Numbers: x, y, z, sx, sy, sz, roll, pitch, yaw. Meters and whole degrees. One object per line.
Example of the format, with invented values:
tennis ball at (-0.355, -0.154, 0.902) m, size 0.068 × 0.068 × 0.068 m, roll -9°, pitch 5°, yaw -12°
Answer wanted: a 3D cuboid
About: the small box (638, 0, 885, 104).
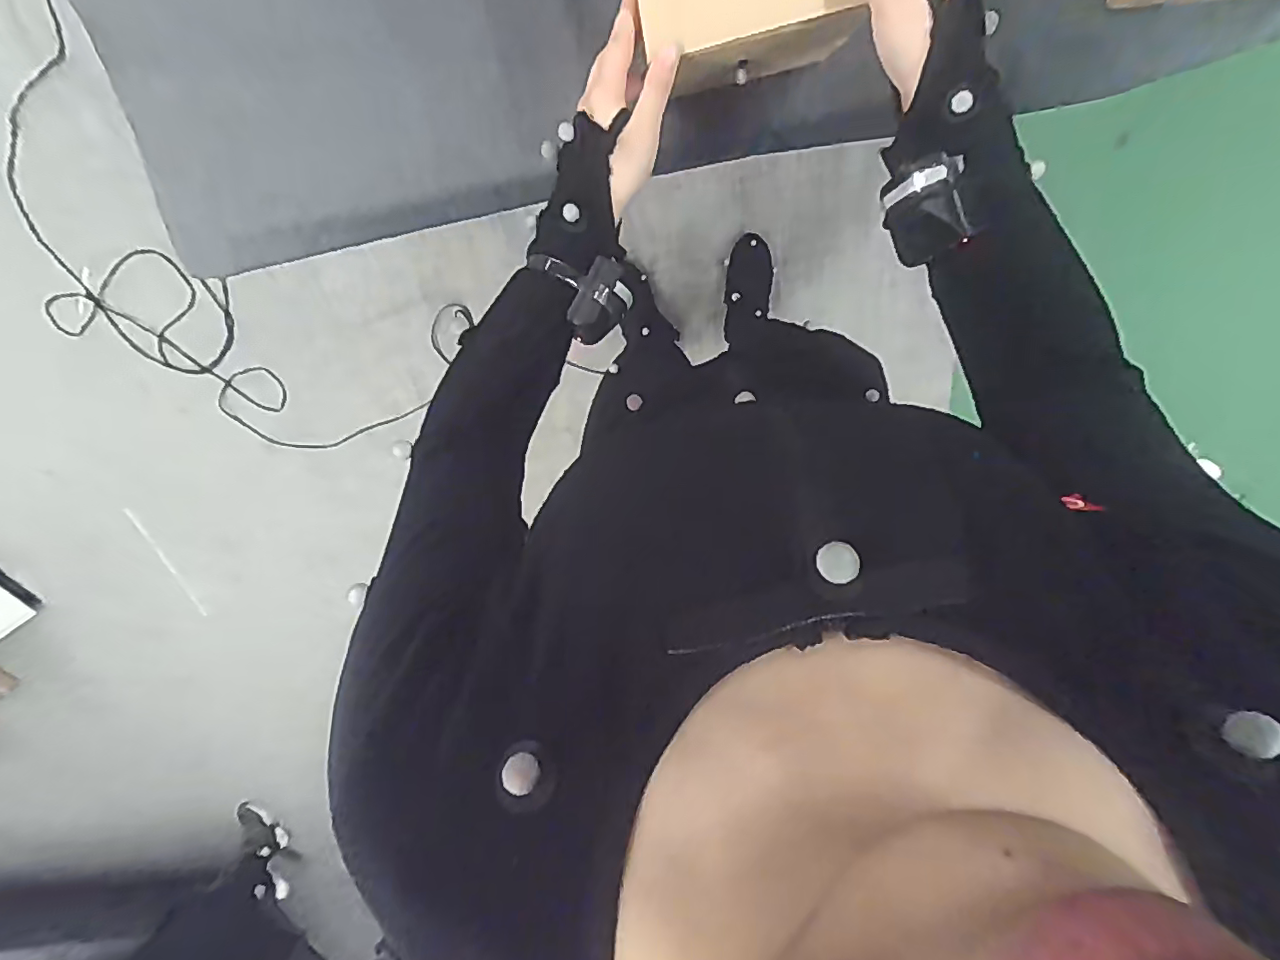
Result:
small box at (0.082, -0.428, 0.437) m, size 0.179 × 0.176 × 0.168 m, roll -8°, pitch 116°, yaw 9°
